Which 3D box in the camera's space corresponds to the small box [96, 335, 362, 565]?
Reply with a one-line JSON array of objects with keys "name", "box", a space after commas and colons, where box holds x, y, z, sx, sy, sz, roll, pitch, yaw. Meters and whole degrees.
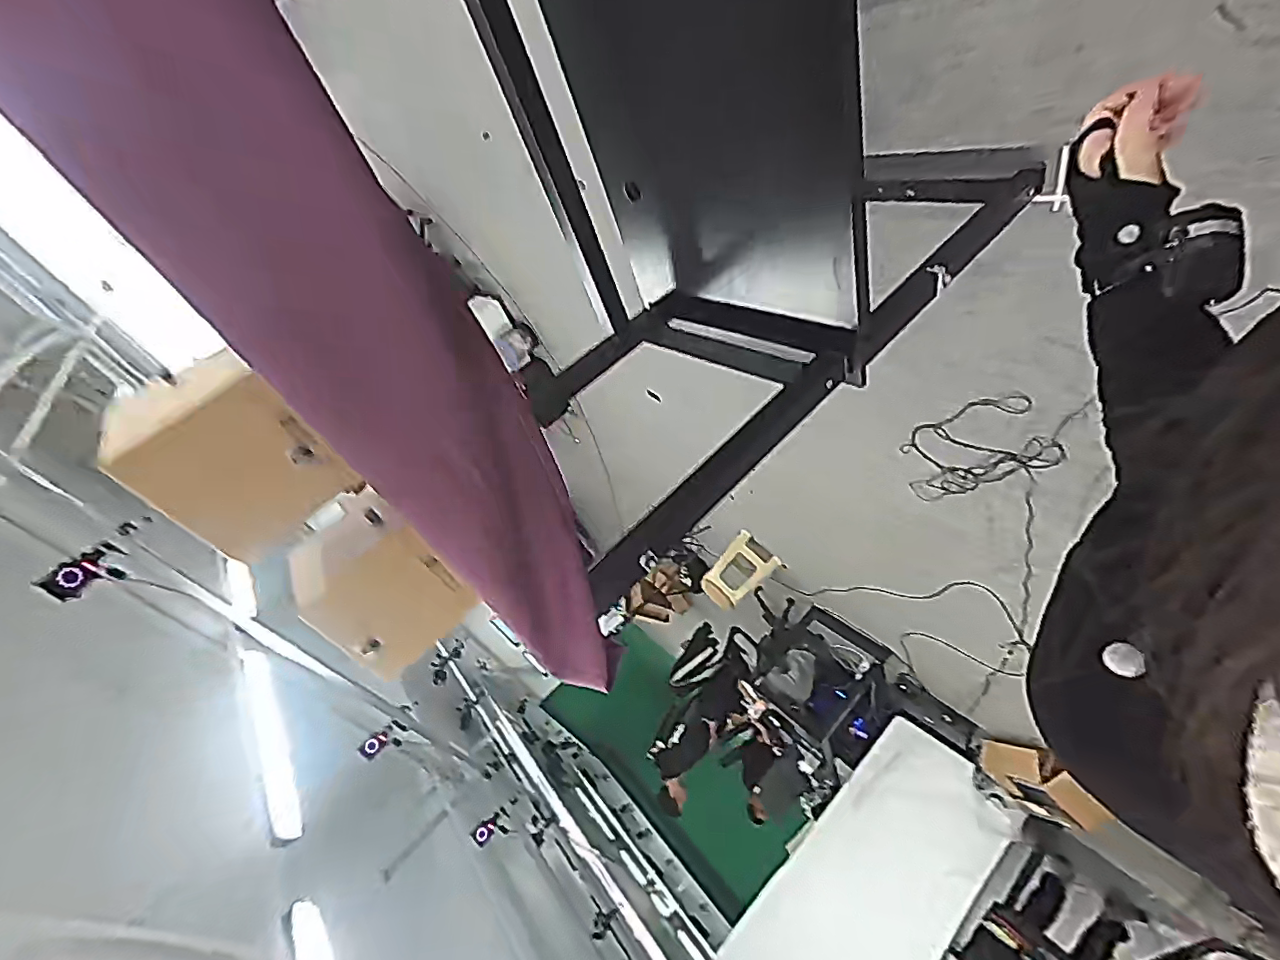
[{"name": "small box", "box": [-0.455, -0.043, 0.619, 0.179, 0.176, 0.168, 31, 157, 43]}]

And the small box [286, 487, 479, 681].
[{"name": "small box", "box": [-0.356, 0.134, 0.758, 0.179, 0.176, 0.168, 27, 154, 50]}]
